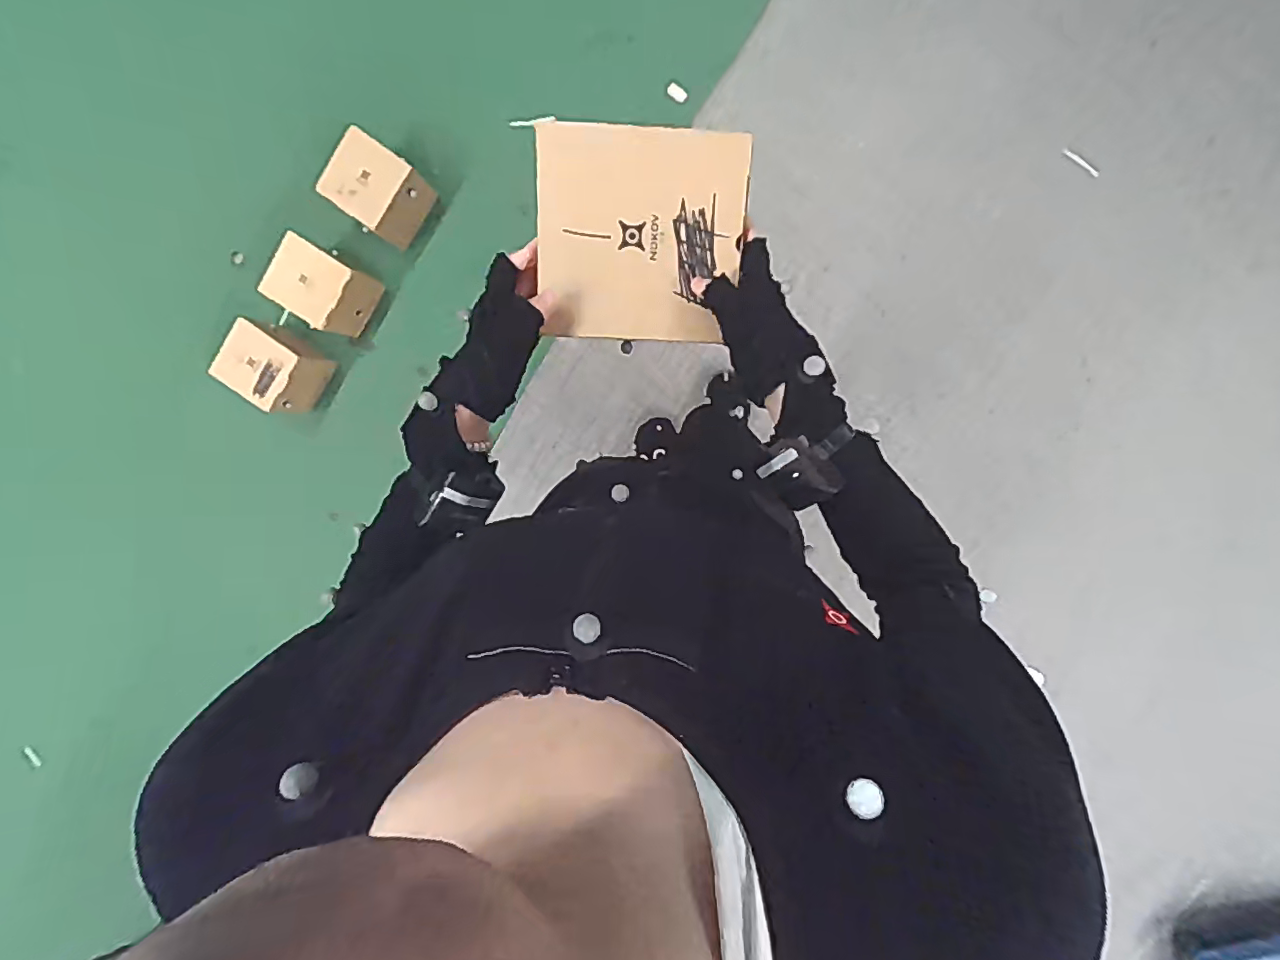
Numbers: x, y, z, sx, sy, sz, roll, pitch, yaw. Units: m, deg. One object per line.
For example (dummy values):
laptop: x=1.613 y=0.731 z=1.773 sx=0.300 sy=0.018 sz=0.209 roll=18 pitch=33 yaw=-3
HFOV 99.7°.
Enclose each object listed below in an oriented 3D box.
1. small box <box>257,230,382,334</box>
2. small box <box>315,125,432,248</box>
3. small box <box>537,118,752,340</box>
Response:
small box: x=-0.799 y=-0.487 z=1.365 sx=0.179 sy=0.176 sz=0.168 roll=33 pitch=97 yaw=-5
small box: x=-0.640 y=-0.709 z=1.329 sx=0.168 sy=0.176 sz=0.179 roll=35 pitch=97 yaw=-4
small box: x=-0.002 y=-0.226 z=0.529 sx=0.179 sy=0.176 sz=0.168 roll=1 pitch=105 yaw=-2
